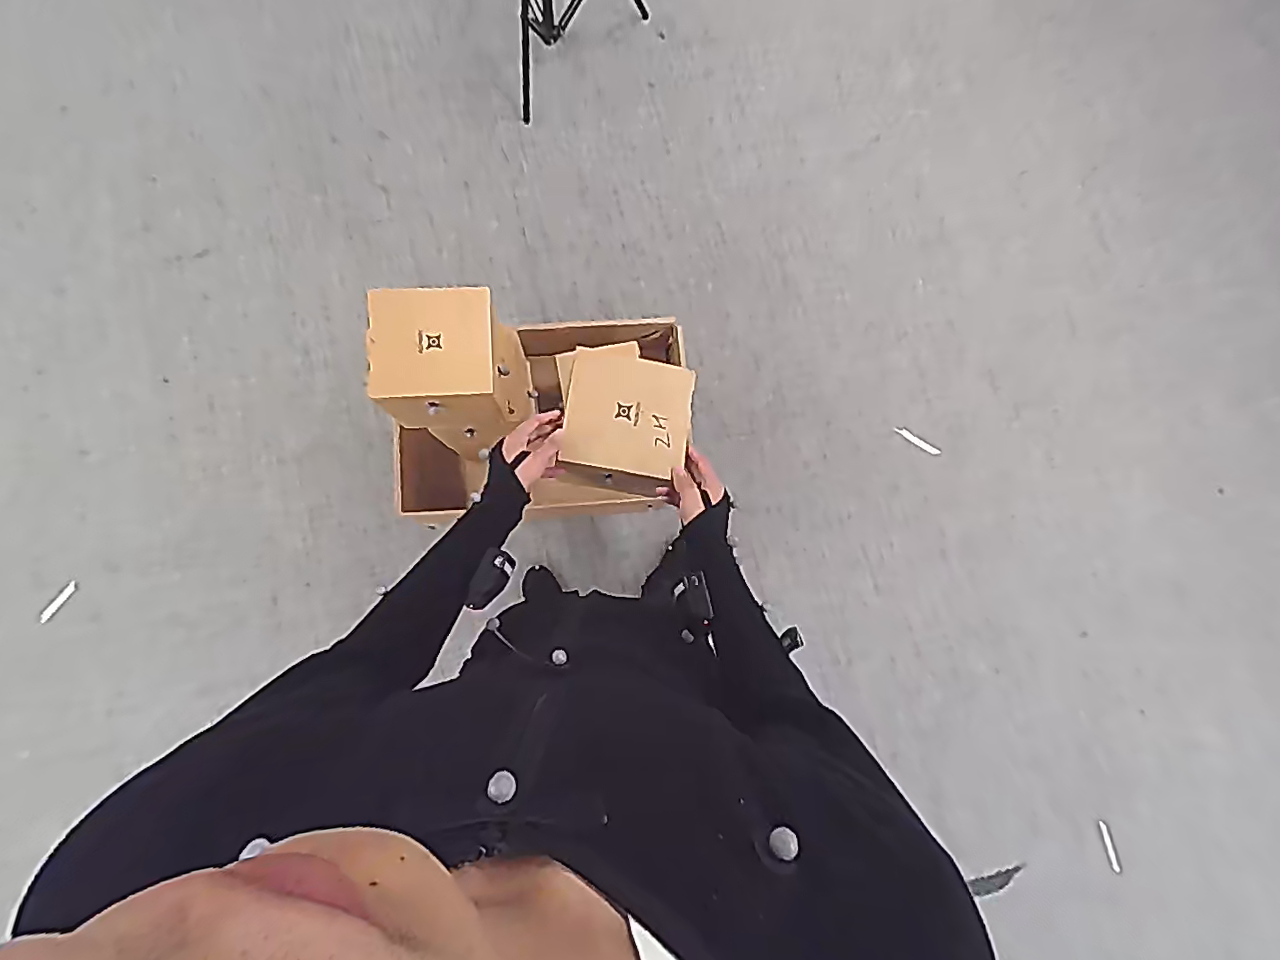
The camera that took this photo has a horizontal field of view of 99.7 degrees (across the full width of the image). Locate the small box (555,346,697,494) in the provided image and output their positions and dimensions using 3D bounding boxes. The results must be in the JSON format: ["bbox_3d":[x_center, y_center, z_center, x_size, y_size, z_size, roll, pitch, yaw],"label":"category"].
[{"bbox_3d":[-0.029,-0.078,0.814,0.179,0.176,0.168,10,79,-9],"label":"small box"}]

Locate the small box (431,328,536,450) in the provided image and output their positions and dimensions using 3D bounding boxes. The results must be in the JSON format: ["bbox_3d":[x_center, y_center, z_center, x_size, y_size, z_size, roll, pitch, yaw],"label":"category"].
[{"bbox_3d":[-0.292,-0.165,1.016,0.168,0.176,0.179,-7,82,-6],"label":"small box"}]

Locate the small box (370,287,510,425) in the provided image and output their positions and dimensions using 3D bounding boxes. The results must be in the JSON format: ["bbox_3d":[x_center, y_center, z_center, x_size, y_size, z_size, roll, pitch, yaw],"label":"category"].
[{"bbox_3d":[-0.303,-0.188,0.853,0.179,0.176,0.168,-4,82,-5],"label":"small box"}]
